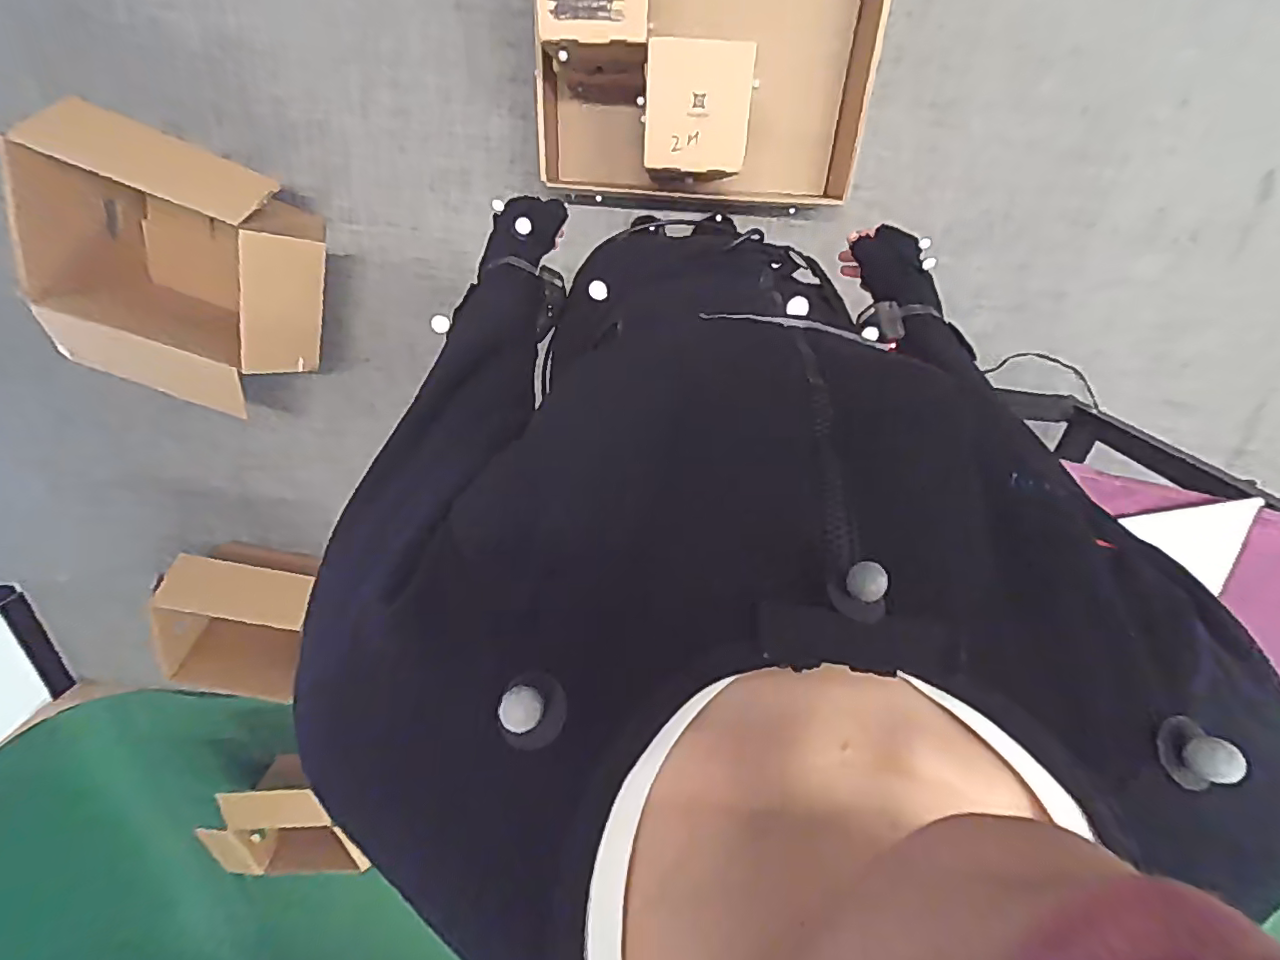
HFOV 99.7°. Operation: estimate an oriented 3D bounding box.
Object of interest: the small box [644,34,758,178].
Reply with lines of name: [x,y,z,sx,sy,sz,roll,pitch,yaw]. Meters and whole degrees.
small box: [0.093,-0.621,0.917,0.168,0.176,0.179,3,118,0]
